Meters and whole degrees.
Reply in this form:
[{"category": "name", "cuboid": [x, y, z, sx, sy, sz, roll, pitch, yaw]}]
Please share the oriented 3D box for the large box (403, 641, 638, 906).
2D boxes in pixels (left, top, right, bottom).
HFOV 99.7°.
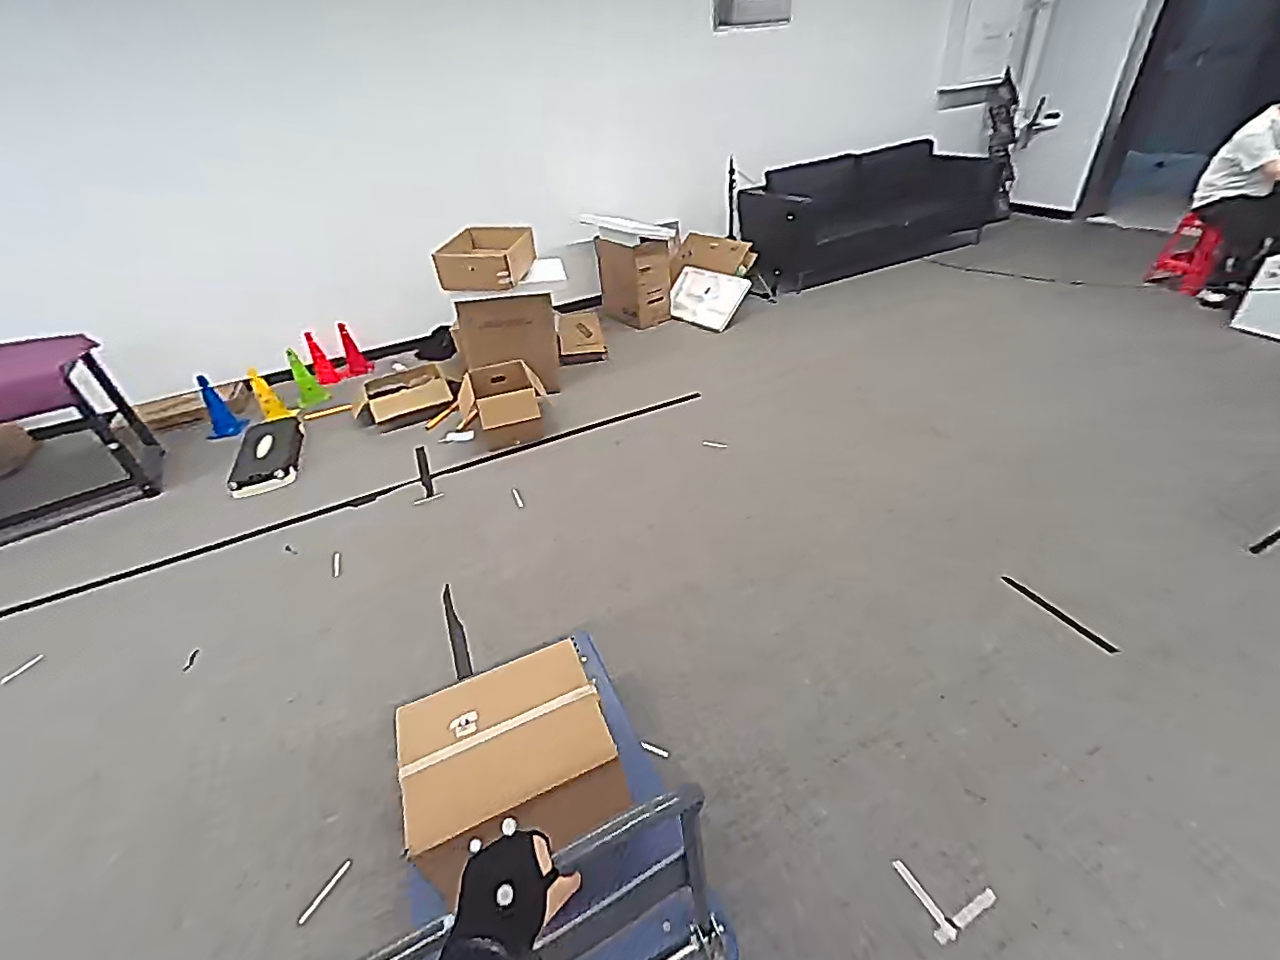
[{"category": "large box", "cuboid": [-0.259, 0.642, 1.210, 0.408, 0.320, 0.320, -20, 38, -15]}]
